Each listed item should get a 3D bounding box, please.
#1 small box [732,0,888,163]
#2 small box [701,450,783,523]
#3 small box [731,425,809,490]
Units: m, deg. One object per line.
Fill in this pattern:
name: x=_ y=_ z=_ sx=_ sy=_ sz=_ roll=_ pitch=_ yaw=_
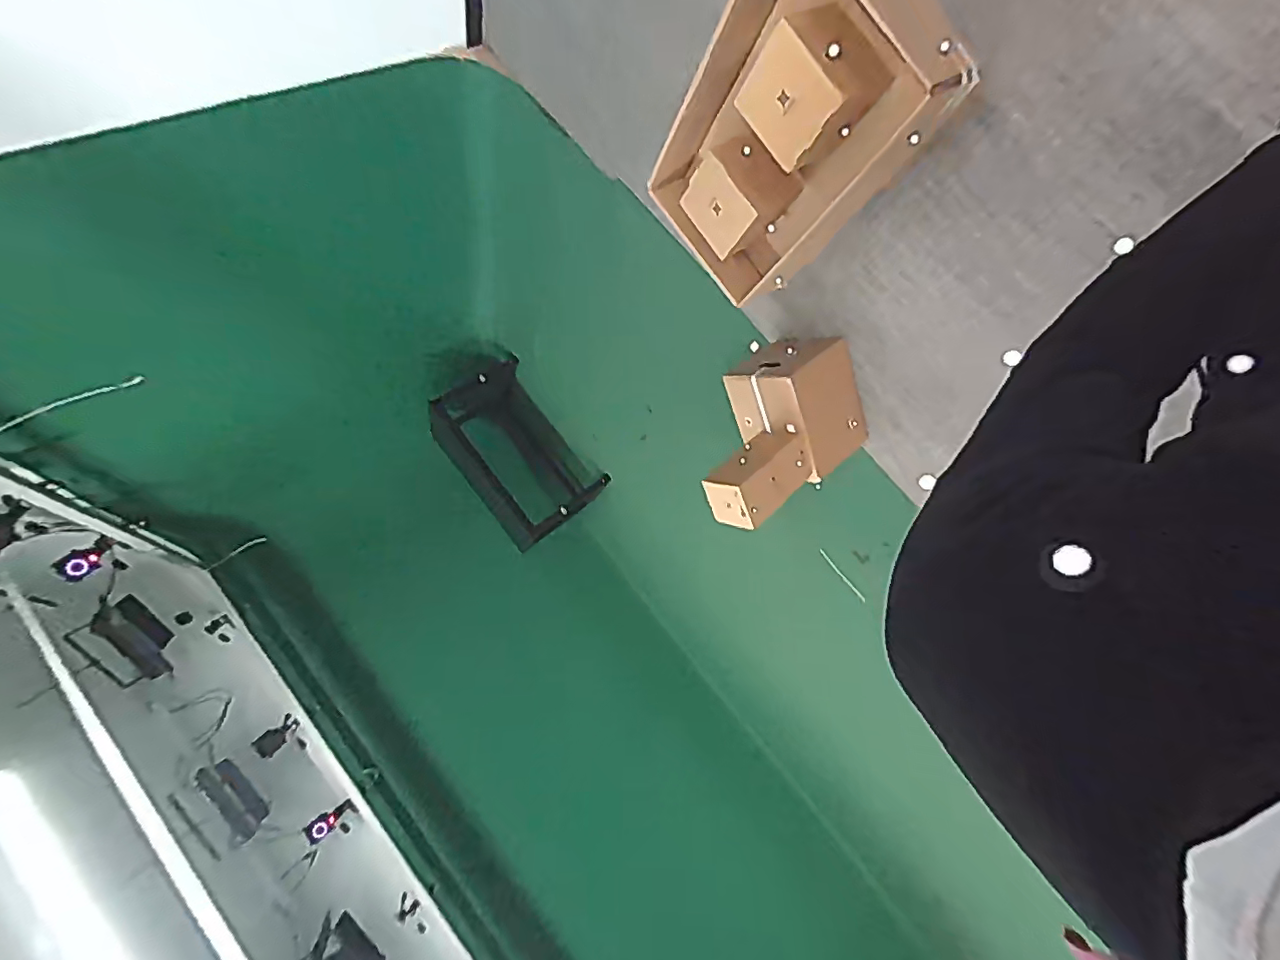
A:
small box: x=0.312 y=-0.737 z=0.998 sx=0.179 sy=0.176 sz=0.168 roll=52 pitch=155 yaw=-1
small box: x=0.339 y=0.014 z=1.779 sx=0.179 sy=0.176 sz=0.168 roll=12 pitch=134 yaw=53
small box: x=0.450 y=-0.077 z=1.859 sx=0.179 sy=0.176 sz=0.168 roll=12 pitch=133 yaw=52
